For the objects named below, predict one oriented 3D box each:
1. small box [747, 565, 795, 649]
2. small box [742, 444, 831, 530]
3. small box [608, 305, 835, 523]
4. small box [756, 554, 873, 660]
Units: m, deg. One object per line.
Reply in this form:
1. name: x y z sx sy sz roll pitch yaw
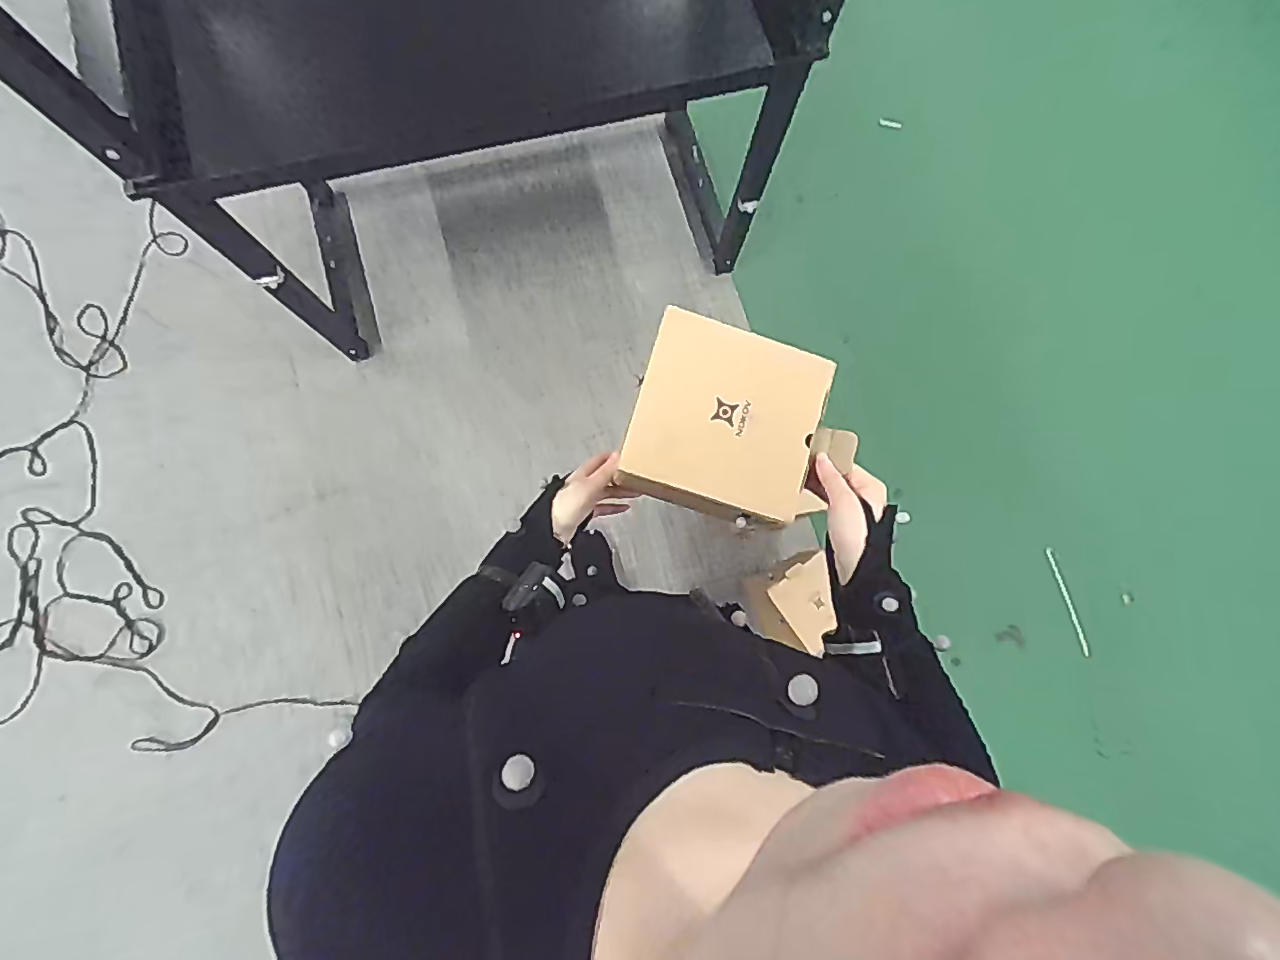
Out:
1. small box: 0.402 0.324 1.426 0.168 0.176 0.179 -22 83 -5
2. small box: 0.333 0.023 1.310 0.179 0.176 0.168 -8 80 -4
3. small box: 0.070 -0.053 0.572 0.179 0.176 0.168 17 84 -5
4. small box: 0.397 0.291 1.267 0.168 0.176 0.179 -35 84 -6
